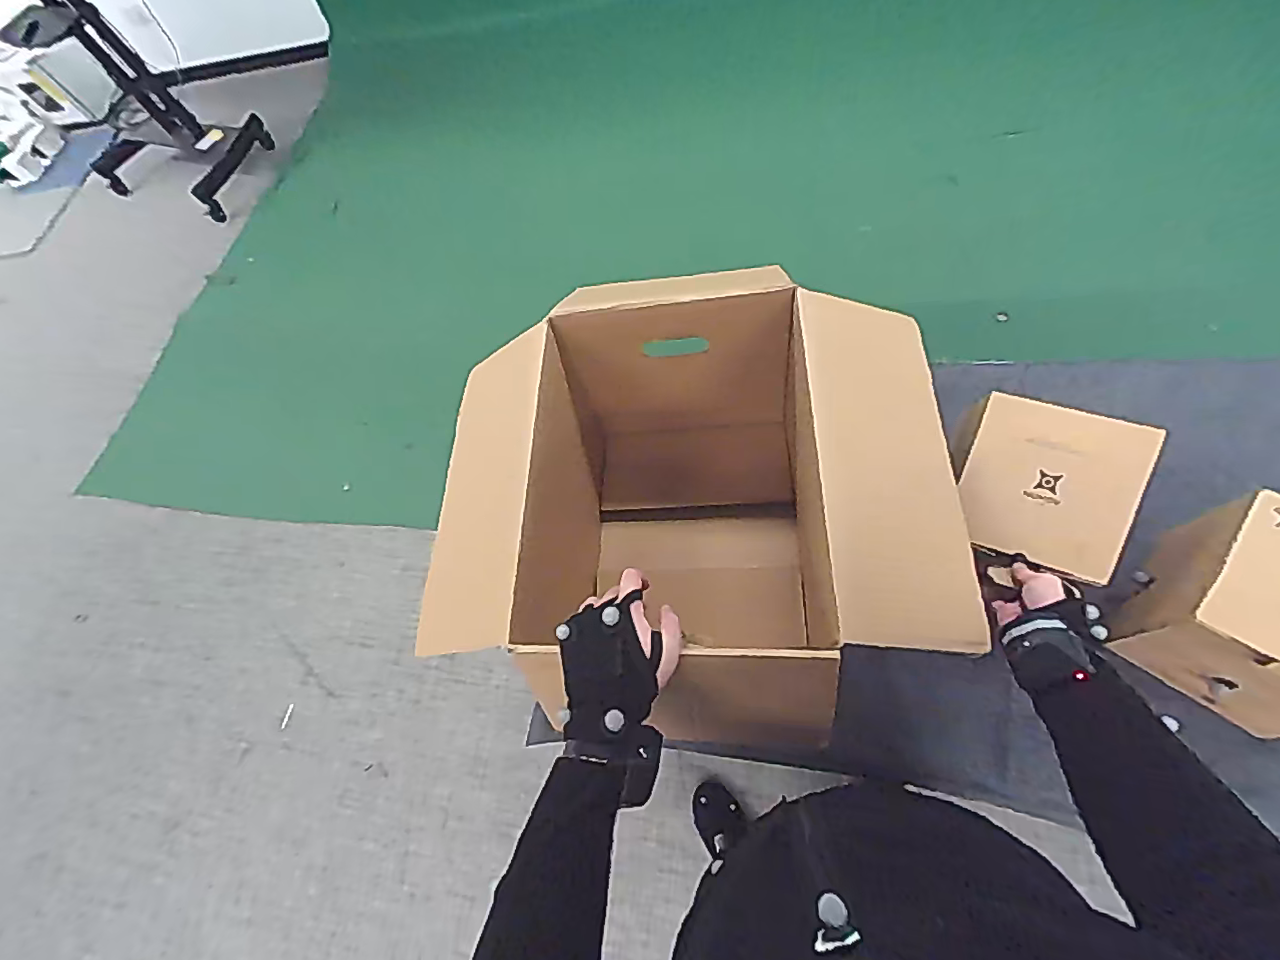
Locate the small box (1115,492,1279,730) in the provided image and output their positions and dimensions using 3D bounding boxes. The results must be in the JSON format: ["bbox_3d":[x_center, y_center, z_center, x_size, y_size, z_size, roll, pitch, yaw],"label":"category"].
[{"bbox_3d":[0.677,0.150,0.588,0.168,0.176,0.179,36,78,25],"label":"small box"}]
